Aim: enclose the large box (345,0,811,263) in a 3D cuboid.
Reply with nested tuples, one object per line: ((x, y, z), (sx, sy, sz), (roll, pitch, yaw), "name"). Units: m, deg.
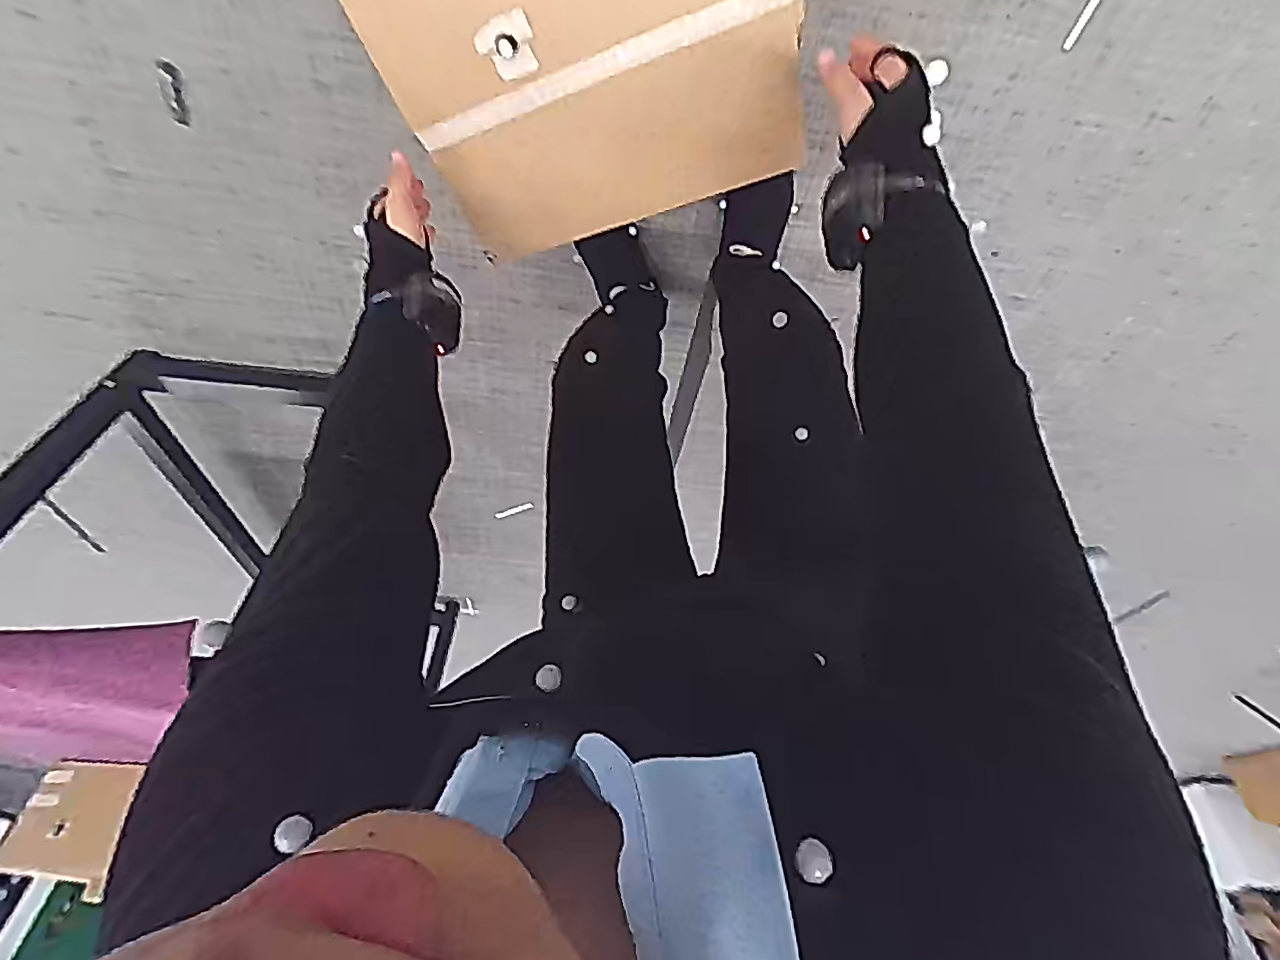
((-0.041, -0.527, 0.633), (0.408, 0.320, 0.320), (-11, 138, 16), "large box")

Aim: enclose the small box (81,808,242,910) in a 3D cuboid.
((-1.032, 0.830, 1.186), (0.168, 0.176, 0.179), (3, 139, -3), "small box")
